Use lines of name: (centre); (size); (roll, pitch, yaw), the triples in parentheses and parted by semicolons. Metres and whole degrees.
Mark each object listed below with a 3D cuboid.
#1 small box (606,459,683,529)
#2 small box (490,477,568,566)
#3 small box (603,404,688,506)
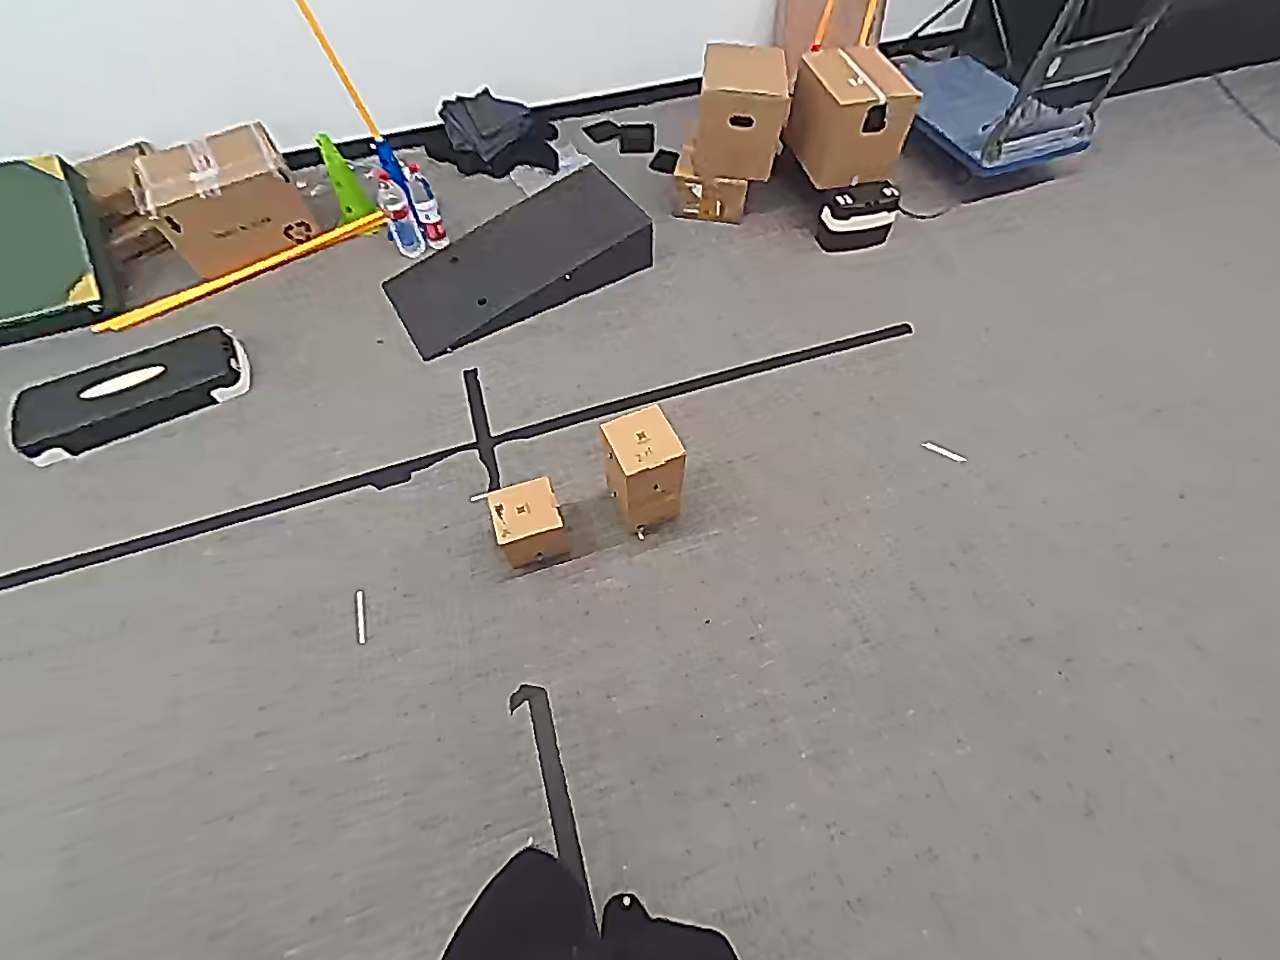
small box: (0.013, 0.022, 1.564); (0.168, 0.176, 0.179); (-22, 61, -12)
small box: (-0.303, 0.120, 1.508); (0.179, 0.176, 0.168); (-15, 60, -9)
small box: (0.012, -0.063, 1.422); (0.168, 0.176, 0.179); (-21, 61, -11)
